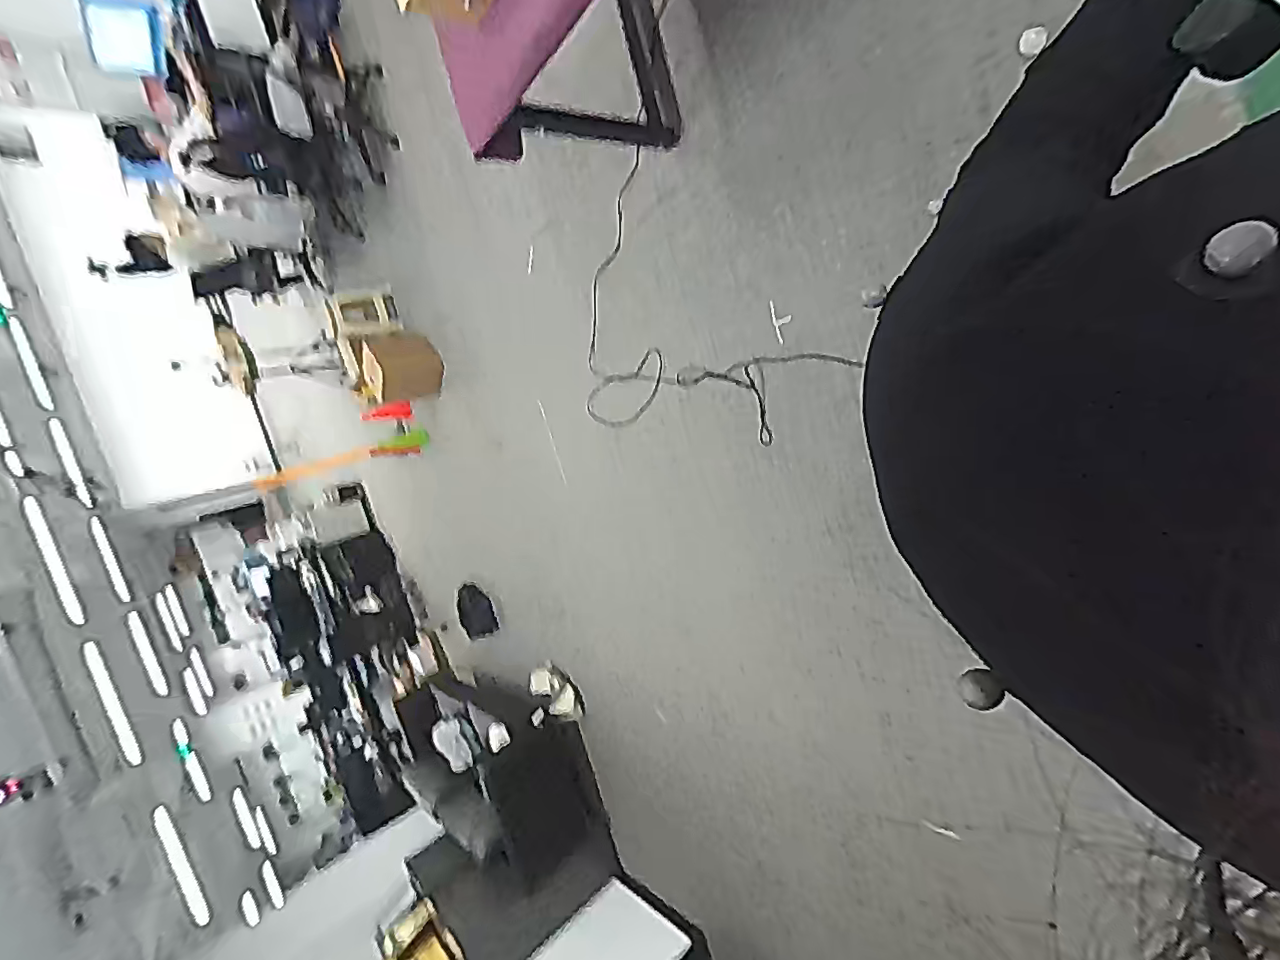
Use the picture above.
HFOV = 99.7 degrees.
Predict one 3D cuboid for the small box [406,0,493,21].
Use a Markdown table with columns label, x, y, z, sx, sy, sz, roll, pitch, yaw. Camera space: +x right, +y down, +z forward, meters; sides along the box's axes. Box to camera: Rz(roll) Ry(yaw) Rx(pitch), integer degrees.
| label | x | y | z | sx | sy | sz | roll | pitch | yaw |
| --- | --- | --- | --- | --- | --- | --- | --- | --- | --- |
| small box | -0.396 | -1.101 | 1.107 | 0.168 | 0.176 | 0.179 | -6 | 102 | 51 |
